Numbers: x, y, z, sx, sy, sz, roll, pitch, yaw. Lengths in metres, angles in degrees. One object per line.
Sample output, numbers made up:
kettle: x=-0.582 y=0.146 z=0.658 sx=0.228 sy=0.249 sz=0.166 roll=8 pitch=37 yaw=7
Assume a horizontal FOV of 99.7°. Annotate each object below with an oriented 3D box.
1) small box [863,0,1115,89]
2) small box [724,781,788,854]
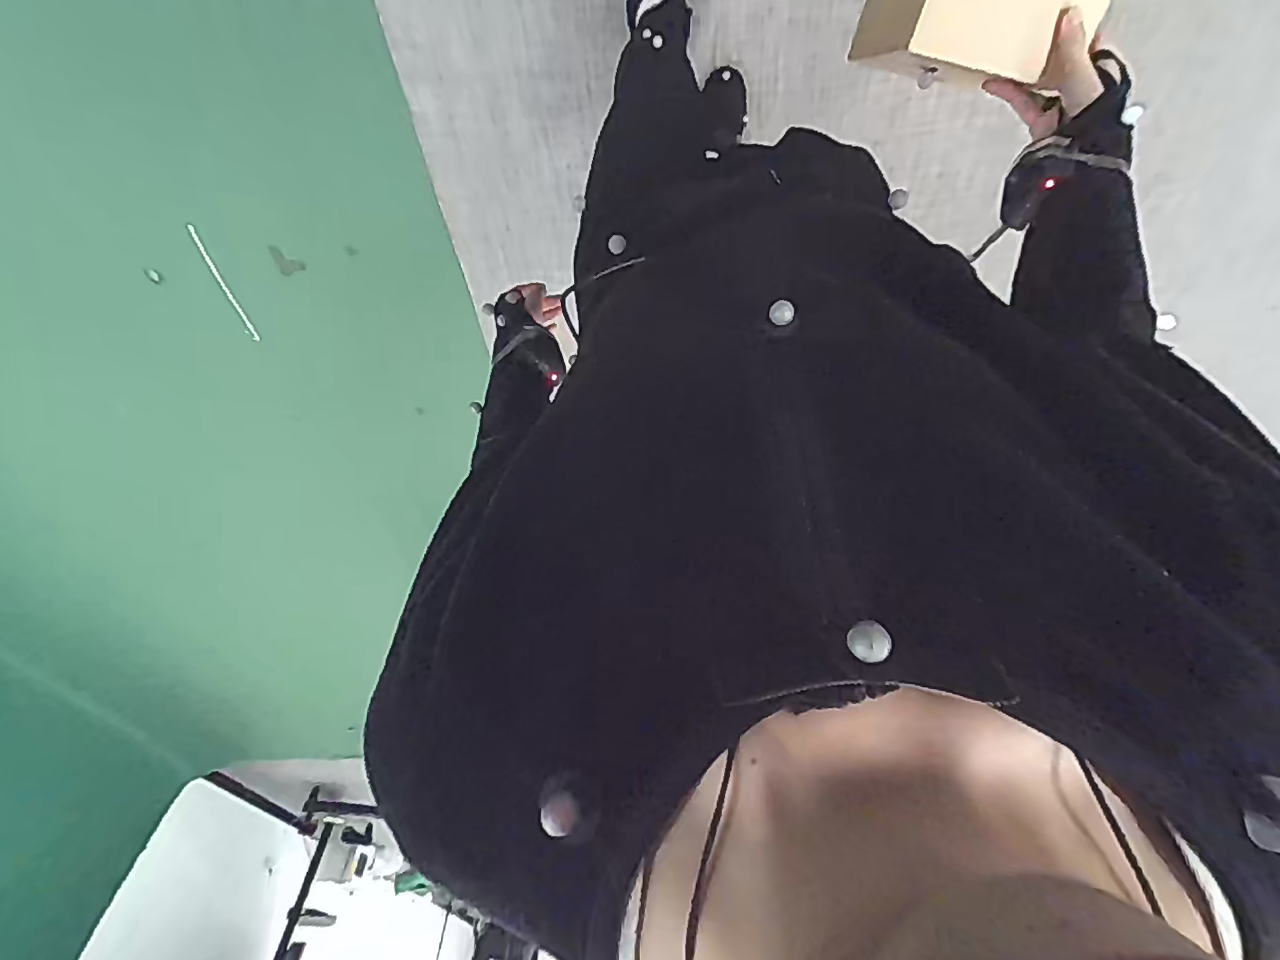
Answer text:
small box: x=0.340 y=-0.496 z=0.517 sx=0.168 sy=0.176 sz=0.179 roll=9 pitch=123 yaw=-6
small box: x=0.378 y=1.115 z=1.789 sx=0.179 sy=0.176 sz=0.168 roll=-3 pitch=130 yaw=4
